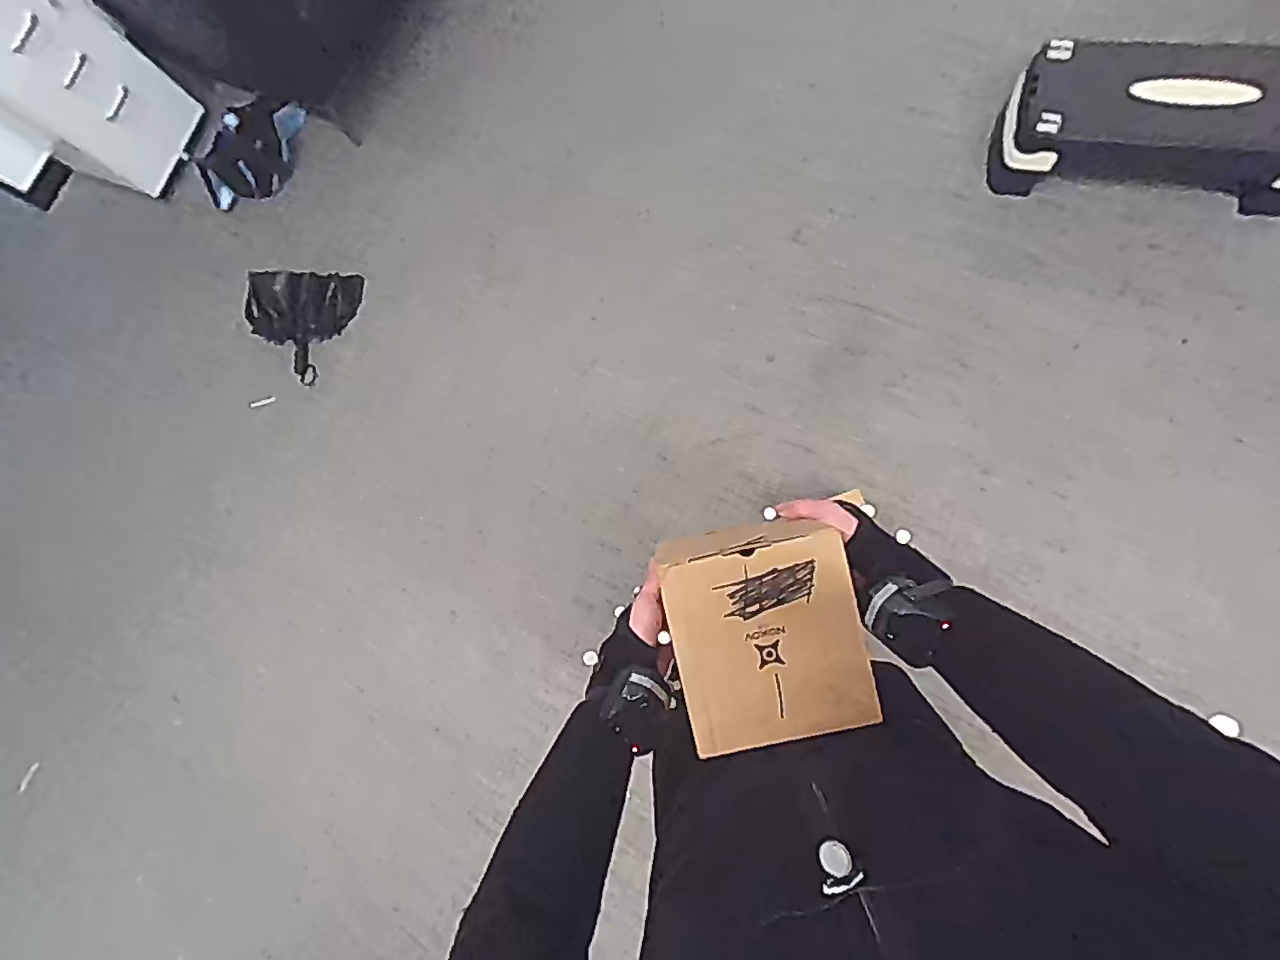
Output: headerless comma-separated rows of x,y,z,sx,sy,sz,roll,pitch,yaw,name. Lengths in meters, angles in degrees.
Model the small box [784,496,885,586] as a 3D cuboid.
0.463,0.156,1.320,0.179,0.176,0.168,-21,76,6,small box
